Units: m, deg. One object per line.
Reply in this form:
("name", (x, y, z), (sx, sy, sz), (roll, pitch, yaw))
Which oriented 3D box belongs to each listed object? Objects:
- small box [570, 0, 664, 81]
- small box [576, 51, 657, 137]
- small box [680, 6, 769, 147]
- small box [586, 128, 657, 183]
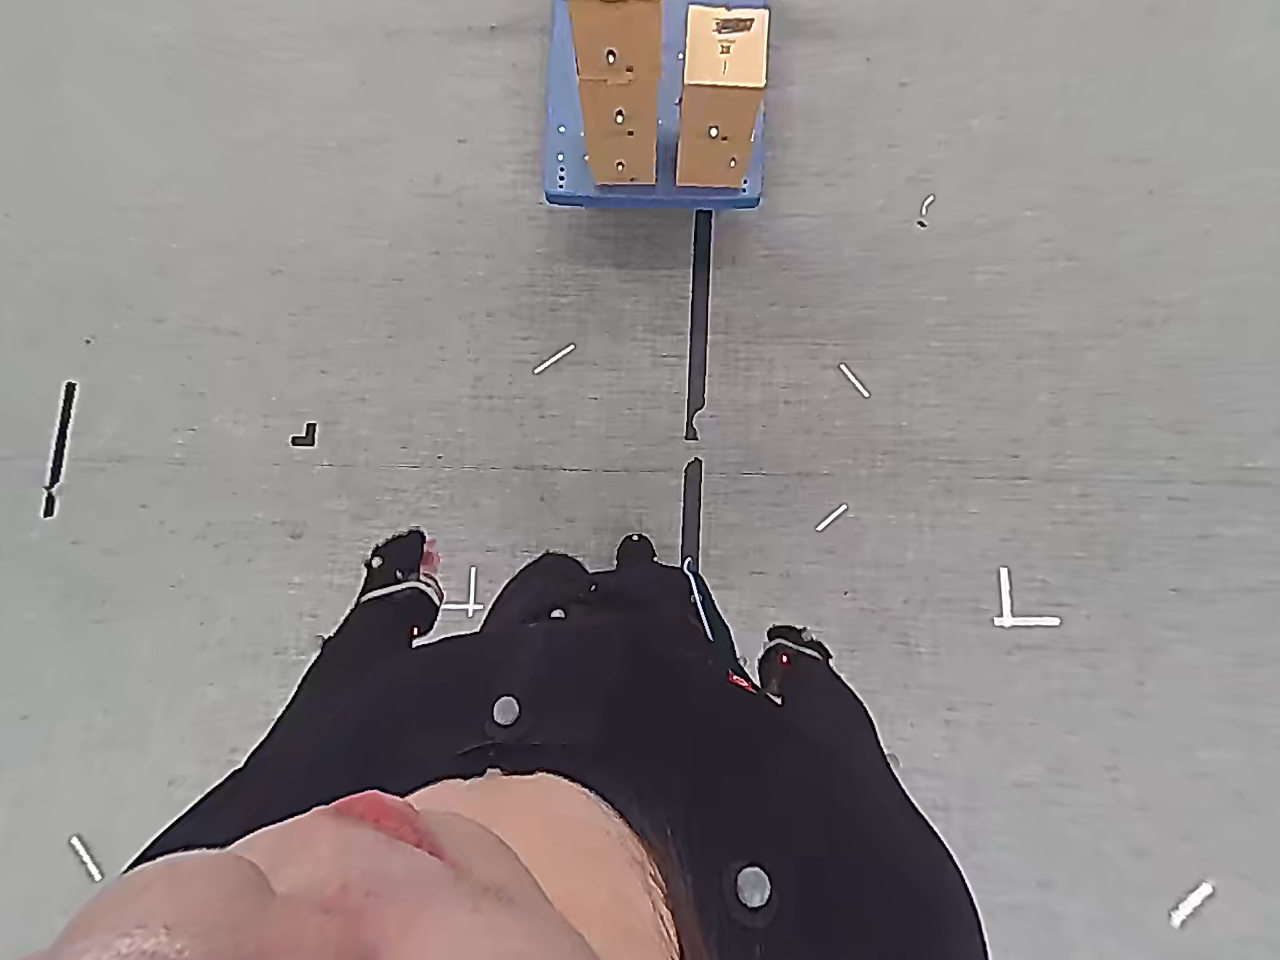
("small box", (-0.039, -0.899, 1.013), (0.168, 0.176, 0.179), (1, 85, 1))
("small box", (-0.046, -0.879, 1.175), (0.168, 0.176, 0.179), (-1, 85, 0))
("small box", (0.175, -0.865, 1.170), (0.168, 0.176, 0.179), (4, 85, 2))
("small box", (-0.041, -0.865, 1.339), (0.168, 0.176, 0.179), (1, 84, 0))
